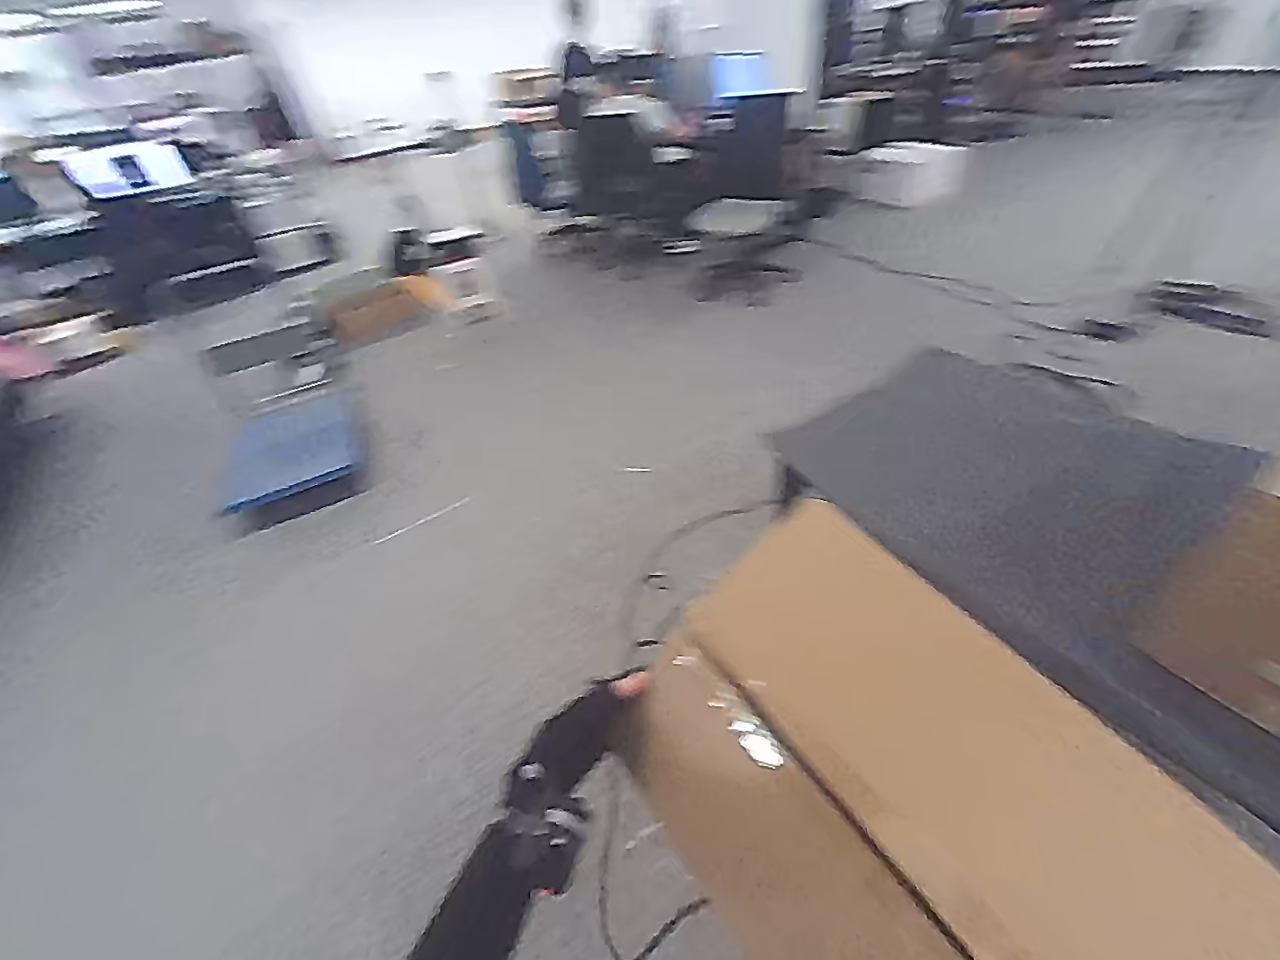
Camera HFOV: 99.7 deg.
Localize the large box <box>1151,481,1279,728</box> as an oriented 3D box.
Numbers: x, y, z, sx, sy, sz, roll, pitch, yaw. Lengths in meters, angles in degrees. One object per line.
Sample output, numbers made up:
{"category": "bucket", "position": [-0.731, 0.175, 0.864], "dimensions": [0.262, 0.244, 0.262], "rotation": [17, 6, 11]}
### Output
{"category": "large box", "position": [0.956, 0.126, 0.651], "dimensions": [0.408, 0.320, 0.320], "rotation": [-26, 43, -20]}
